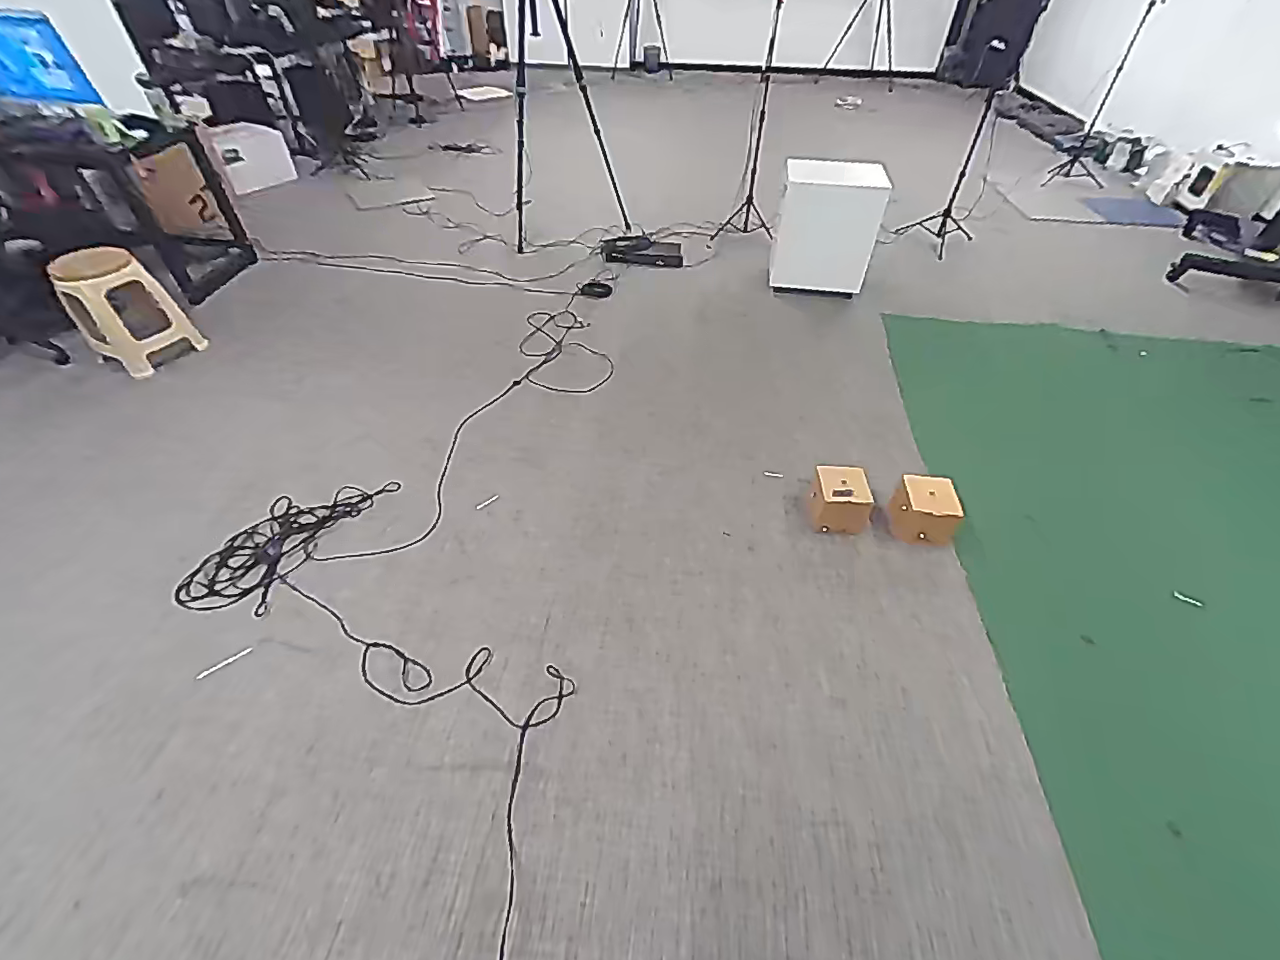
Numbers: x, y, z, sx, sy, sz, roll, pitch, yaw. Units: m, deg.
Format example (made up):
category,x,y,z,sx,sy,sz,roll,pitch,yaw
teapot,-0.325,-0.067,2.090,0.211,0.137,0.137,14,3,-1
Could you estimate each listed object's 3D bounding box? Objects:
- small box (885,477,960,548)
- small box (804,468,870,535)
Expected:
category,x,y,z,sx,sy,sz,roll,pitch,yaw
small box,0.983,0.115,1.898,0.168,0.176,0.179,5,46,4
small box,0.693,0.080,1.922,0.168,0.176,0.179,3,44,1
